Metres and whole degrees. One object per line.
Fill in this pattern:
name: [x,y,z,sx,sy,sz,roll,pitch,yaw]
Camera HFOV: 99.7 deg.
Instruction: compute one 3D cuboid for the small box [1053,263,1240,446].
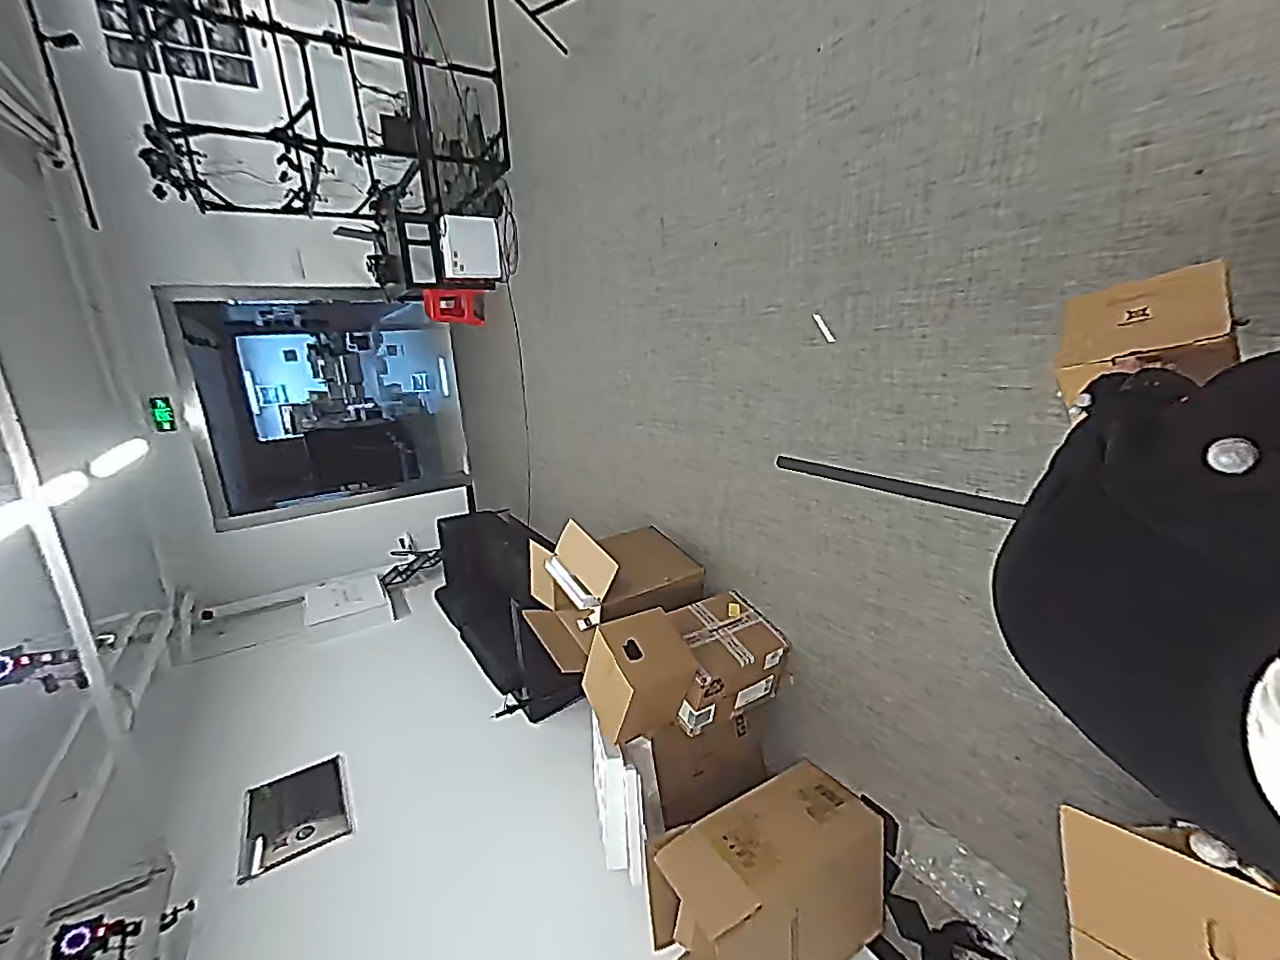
small box: [0.708,-0.161,0.756,0.168,0.179,0.176,-6,130,49]
